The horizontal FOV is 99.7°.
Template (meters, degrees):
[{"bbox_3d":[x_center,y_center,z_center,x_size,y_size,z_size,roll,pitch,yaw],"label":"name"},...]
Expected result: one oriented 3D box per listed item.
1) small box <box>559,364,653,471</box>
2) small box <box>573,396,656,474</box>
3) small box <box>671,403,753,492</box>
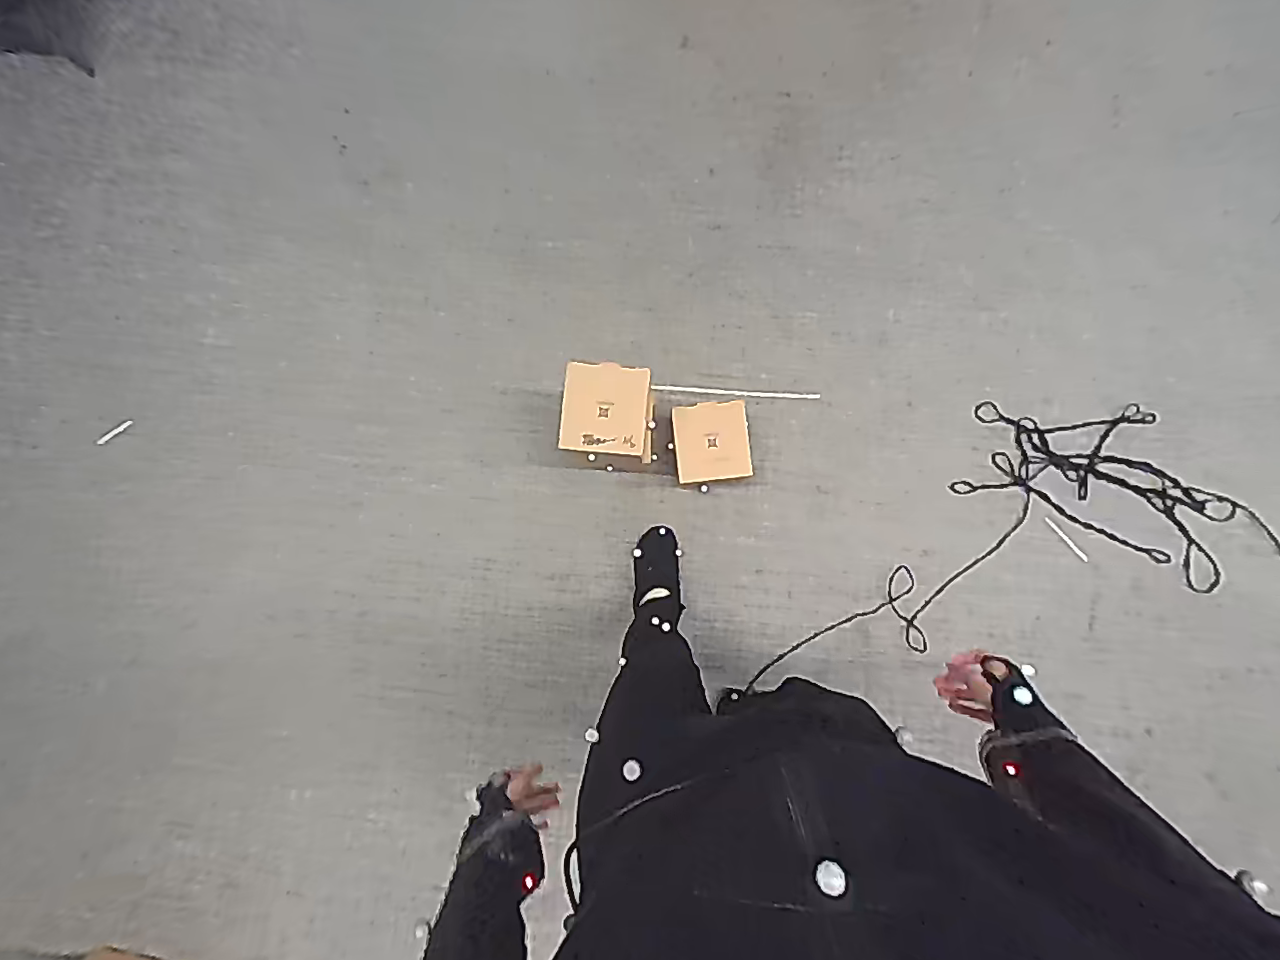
[{"bbox_3d":[-0.065,-0.123,1.121,0.168,0.176,0.179,5,83,2],"label":"small box"},{"bbox_3d":[-0.055,-0.108,1.284,0.179,0.176,0.168,4,84,2],"label":"small box"},{"bbox_3d":[0.163,-0.071,1.277,0.168,0.176,0.179,-5,85,2],"label":"small box"}]
